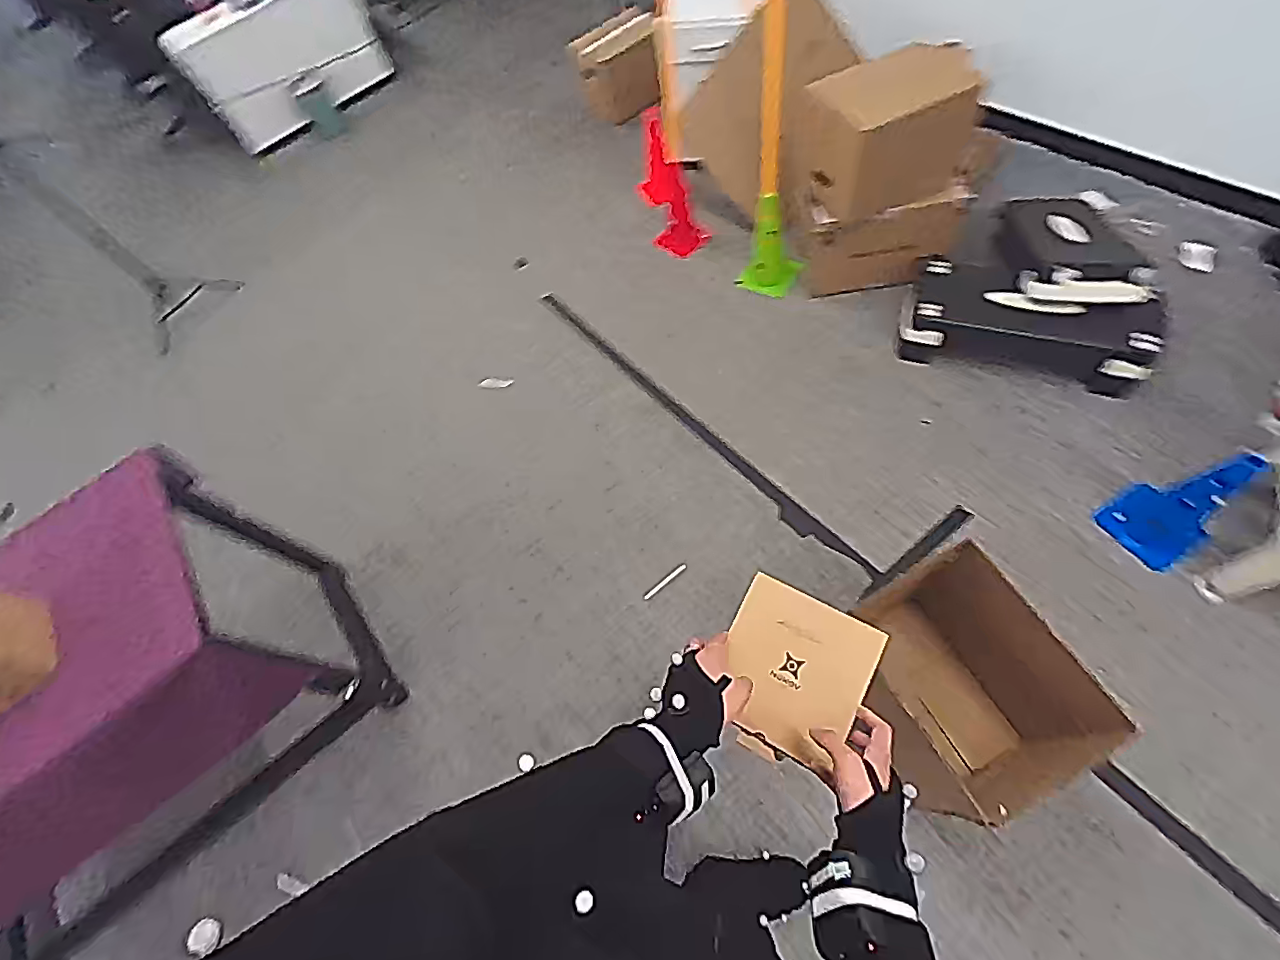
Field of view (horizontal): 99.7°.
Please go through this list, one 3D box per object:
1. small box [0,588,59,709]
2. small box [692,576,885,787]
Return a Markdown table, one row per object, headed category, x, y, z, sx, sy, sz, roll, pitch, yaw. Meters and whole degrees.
| category | x | y | z | sx | sy | sz | roll | pitch | yaw |
| --- | --- | --- | --- | --- | --- | --- | --- | --- | --- |
| small box | -1.210 | 0.306 | 0.967 | 0.168 | 0.176 | 0.179 | -40 | 61 | -10 |
| small box | 0.183 | 0.249 | 0.693 | 0.168 | 0.176 | 0.179 | 25 | 77 | 17 |
